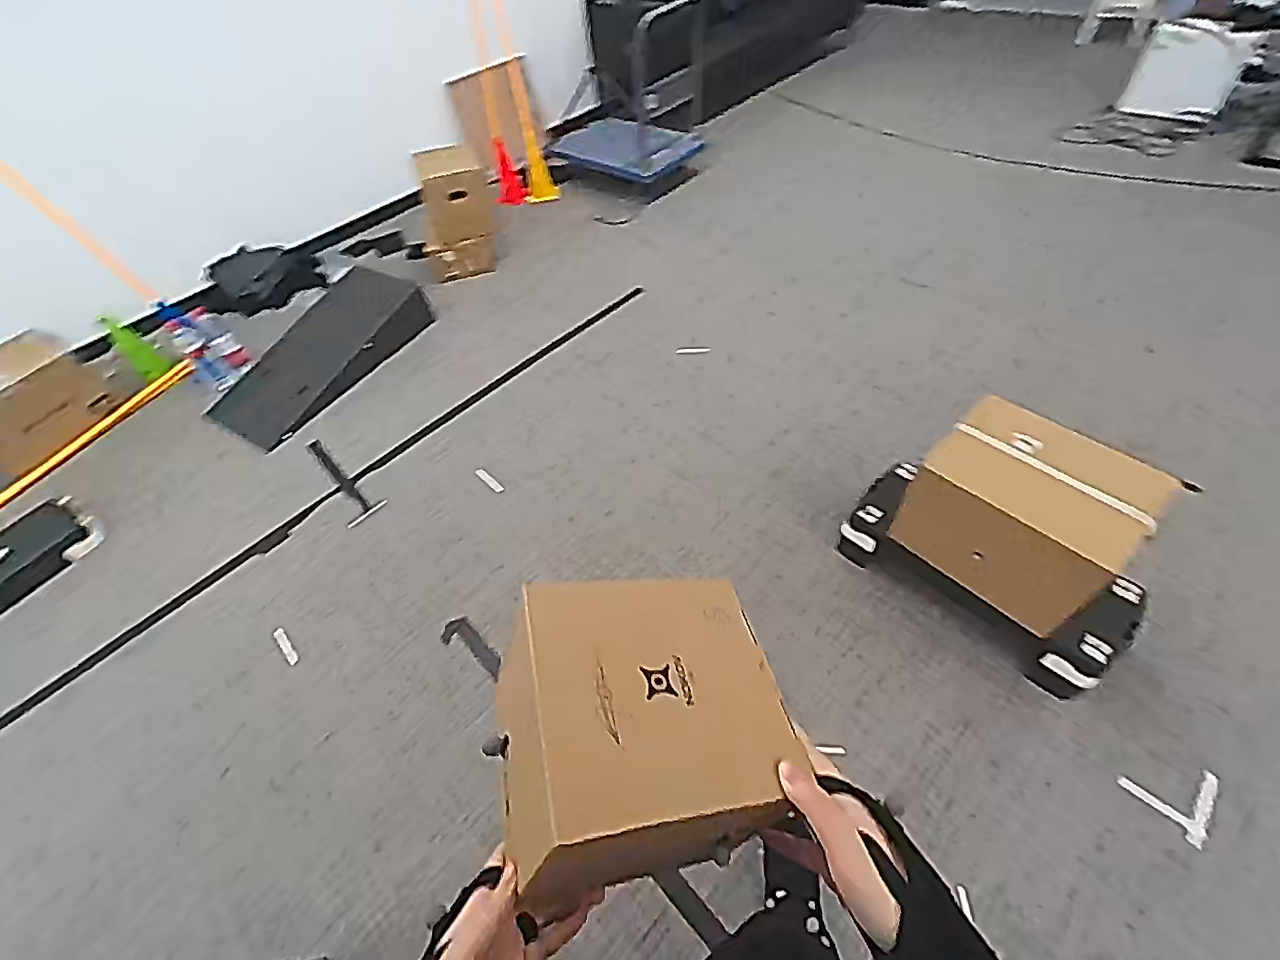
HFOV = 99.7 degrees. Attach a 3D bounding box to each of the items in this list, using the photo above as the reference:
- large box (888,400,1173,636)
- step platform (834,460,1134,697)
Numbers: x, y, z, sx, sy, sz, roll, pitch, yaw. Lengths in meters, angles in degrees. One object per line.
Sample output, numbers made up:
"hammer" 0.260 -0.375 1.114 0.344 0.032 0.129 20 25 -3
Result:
"large box" 0.883 0.083 1.281 0.320 0.320 0.408 -37 54 -21
"step platform" 0.888 0.230 1.471 0.286 0.204 0.684 -35 54 -19
